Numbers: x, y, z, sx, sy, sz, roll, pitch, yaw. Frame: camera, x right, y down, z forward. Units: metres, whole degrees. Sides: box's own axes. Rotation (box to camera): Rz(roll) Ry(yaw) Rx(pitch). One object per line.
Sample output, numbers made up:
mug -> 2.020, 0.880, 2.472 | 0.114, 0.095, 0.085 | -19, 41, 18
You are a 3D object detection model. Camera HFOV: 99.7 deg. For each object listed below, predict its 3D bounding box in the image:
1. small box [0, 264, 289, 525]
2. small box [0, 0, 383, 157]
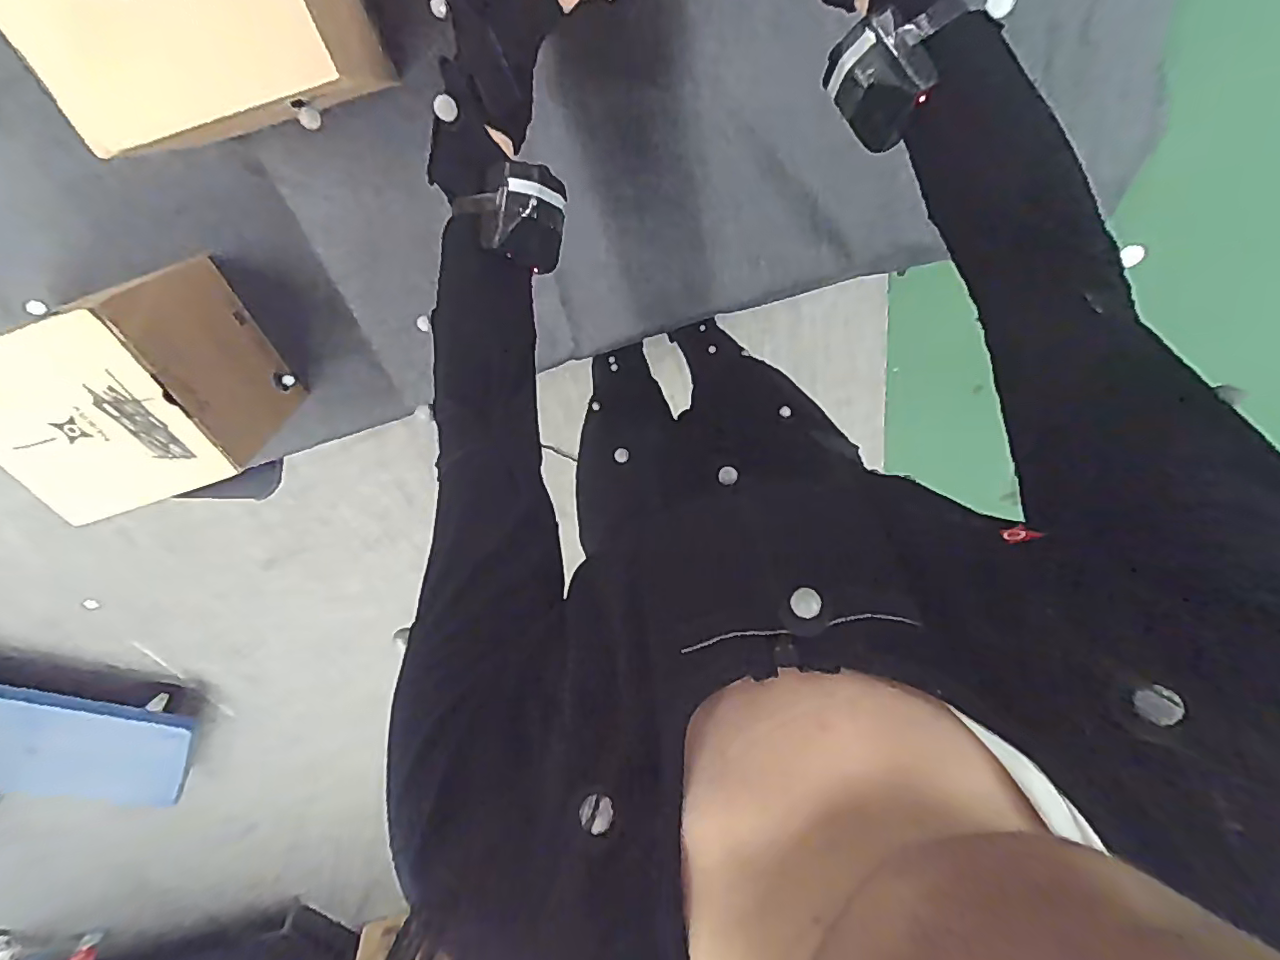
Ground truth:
small box -> -0.481, -0.090, 0.522 | 0.179, 0.176, 0.168 | -17, 124, 4
small box -> -0.303, -0.344, 0.372 | 0.179, 0.176, 0.168 | -15, 126, 2
